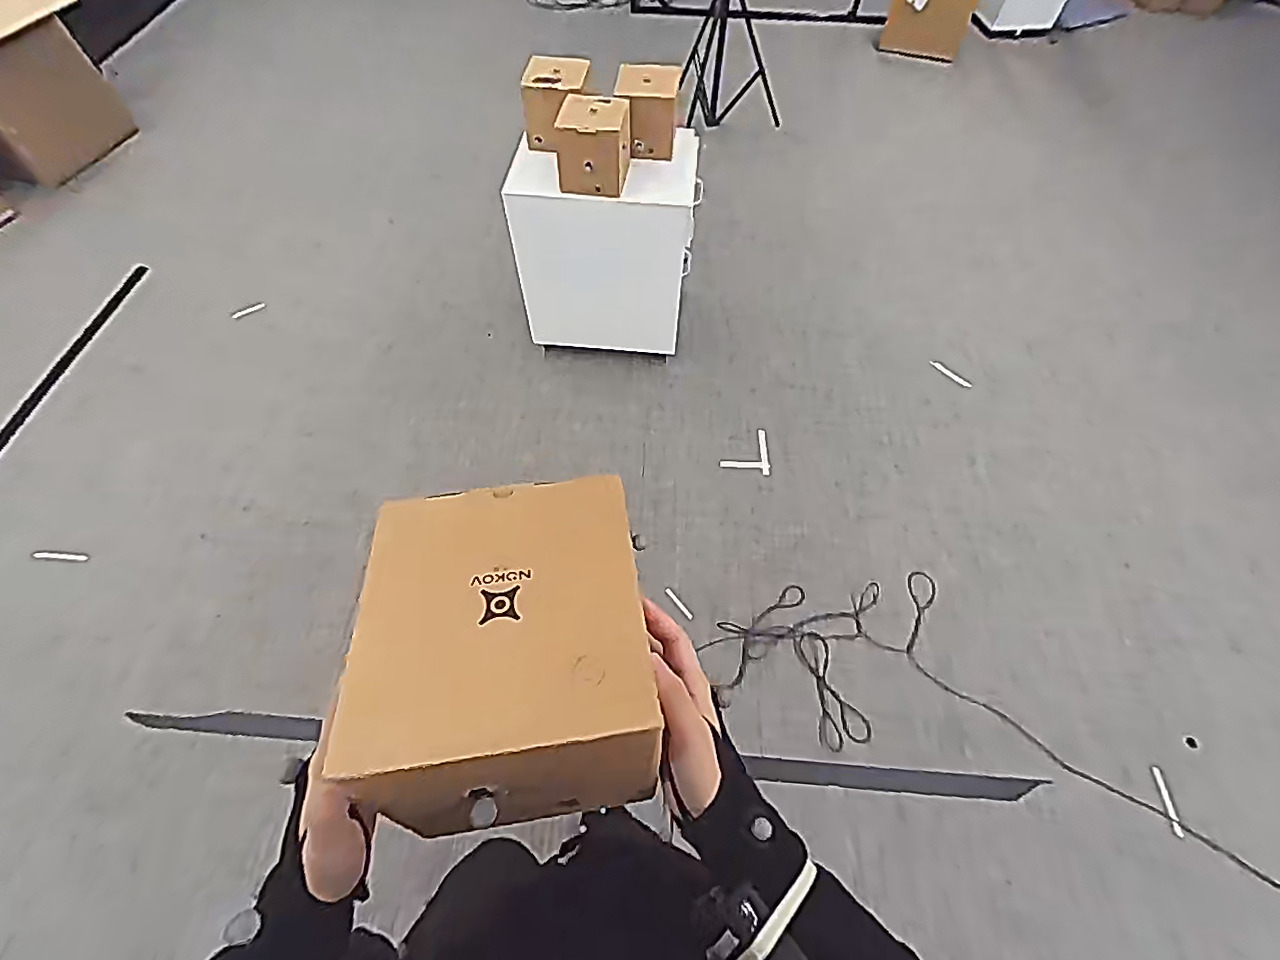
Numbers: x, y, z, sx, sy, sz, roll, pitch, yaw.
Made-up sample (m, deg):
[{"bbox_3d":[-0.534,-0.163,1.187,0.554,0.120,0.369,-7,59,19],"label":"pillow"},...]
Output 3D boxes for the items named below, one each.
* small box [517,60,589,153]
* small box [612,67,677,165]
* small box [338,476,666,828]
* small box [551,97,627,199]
[{"bbox_3d":[-0.235,-1.050,1.529,0.168,0.176,0.179,6,59,2],"label":"small box"},{"bbox_3d":[0.014,-1.024,1.521,0.168,0.176,0.179,4,61,3],"label":"small box"},{"bbox_3d":[-0.077,0.124,0.378,0.168,0.176,0.179,-7,48,-7],"label":"small box"},{"bbox_3d":[-0.126,-0.869,1.424,0.168,0.176,0.179,7,59,3],"label":"small box"}]
